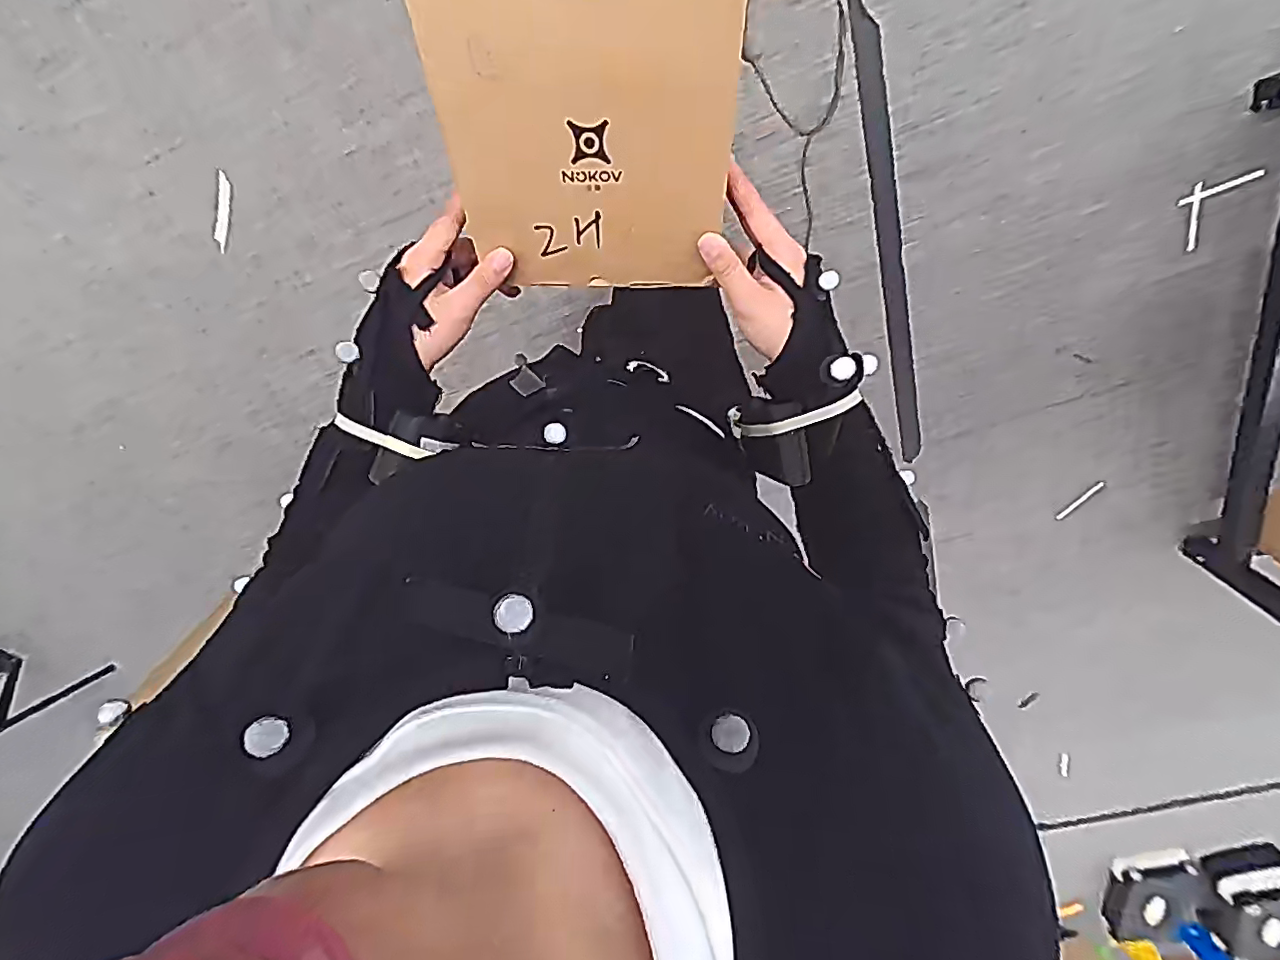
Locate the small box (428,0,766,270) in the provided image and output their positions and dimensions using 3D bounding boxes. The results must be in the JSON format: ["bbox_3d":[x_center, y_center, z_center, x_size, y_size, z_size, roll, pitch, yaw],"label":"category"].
[{"bbox_3d":[-0.019,-0.262,0.351,0.168,0.176,0.179,2,144,2],"label":"small box"}]

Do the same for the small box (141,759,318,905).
[{"bbox_3d":[-0.743,0.650,1.010,0.179,0.176,0.168,-17,119,10],"label":"small box"}]
